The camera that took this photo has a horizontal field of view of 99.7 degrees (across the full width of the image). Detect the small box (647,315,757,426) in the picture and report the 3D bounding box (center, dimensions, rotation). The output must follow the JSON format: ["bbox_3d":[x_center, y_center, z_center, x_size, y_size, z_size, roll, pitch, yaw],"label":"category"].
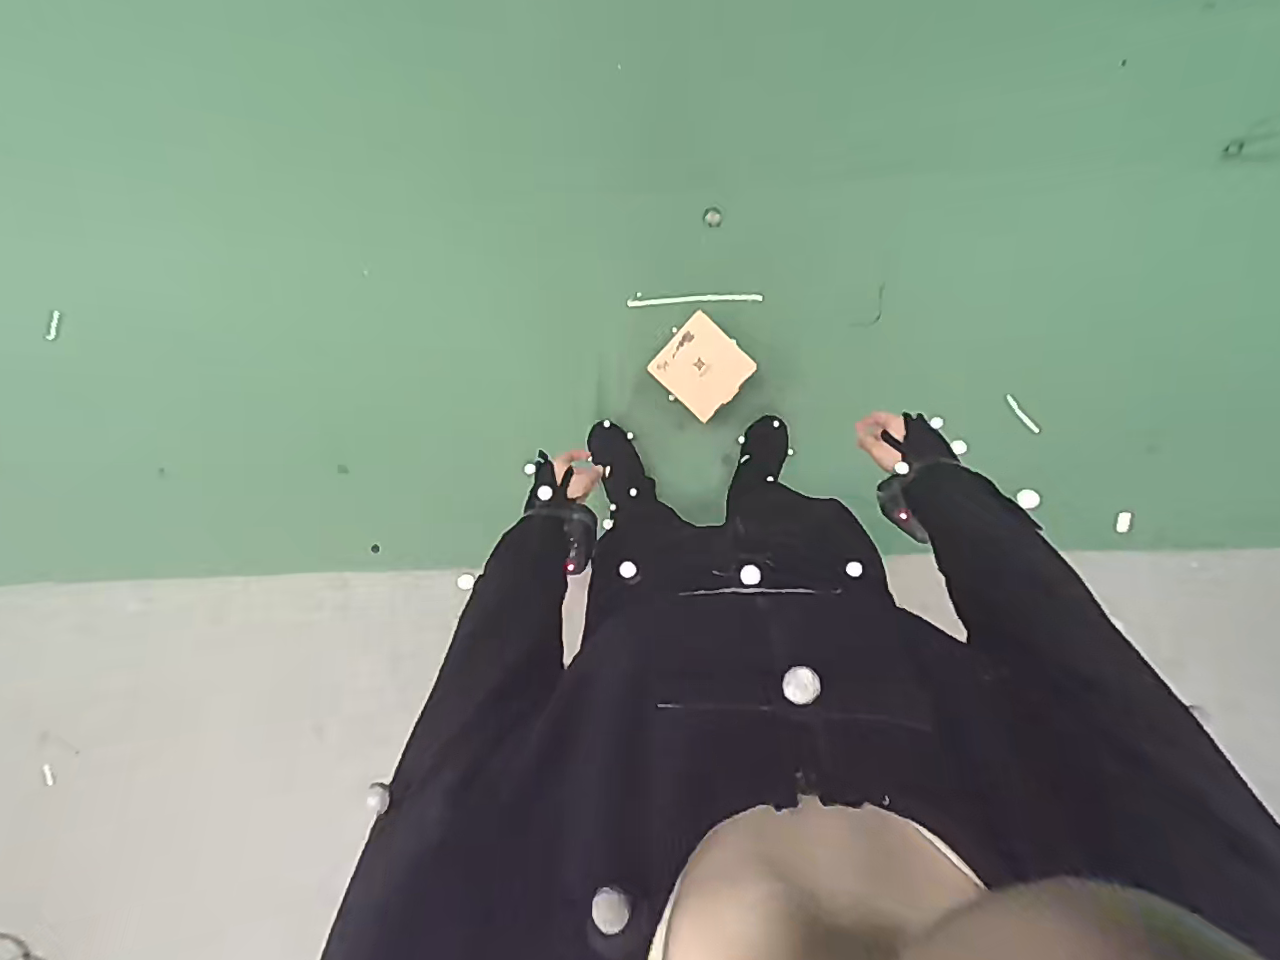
[{"bbox_3d":[0.135,-0.244,1.214,0.179,0.176,0.168,43,99,-5],"label":"small box"}]
